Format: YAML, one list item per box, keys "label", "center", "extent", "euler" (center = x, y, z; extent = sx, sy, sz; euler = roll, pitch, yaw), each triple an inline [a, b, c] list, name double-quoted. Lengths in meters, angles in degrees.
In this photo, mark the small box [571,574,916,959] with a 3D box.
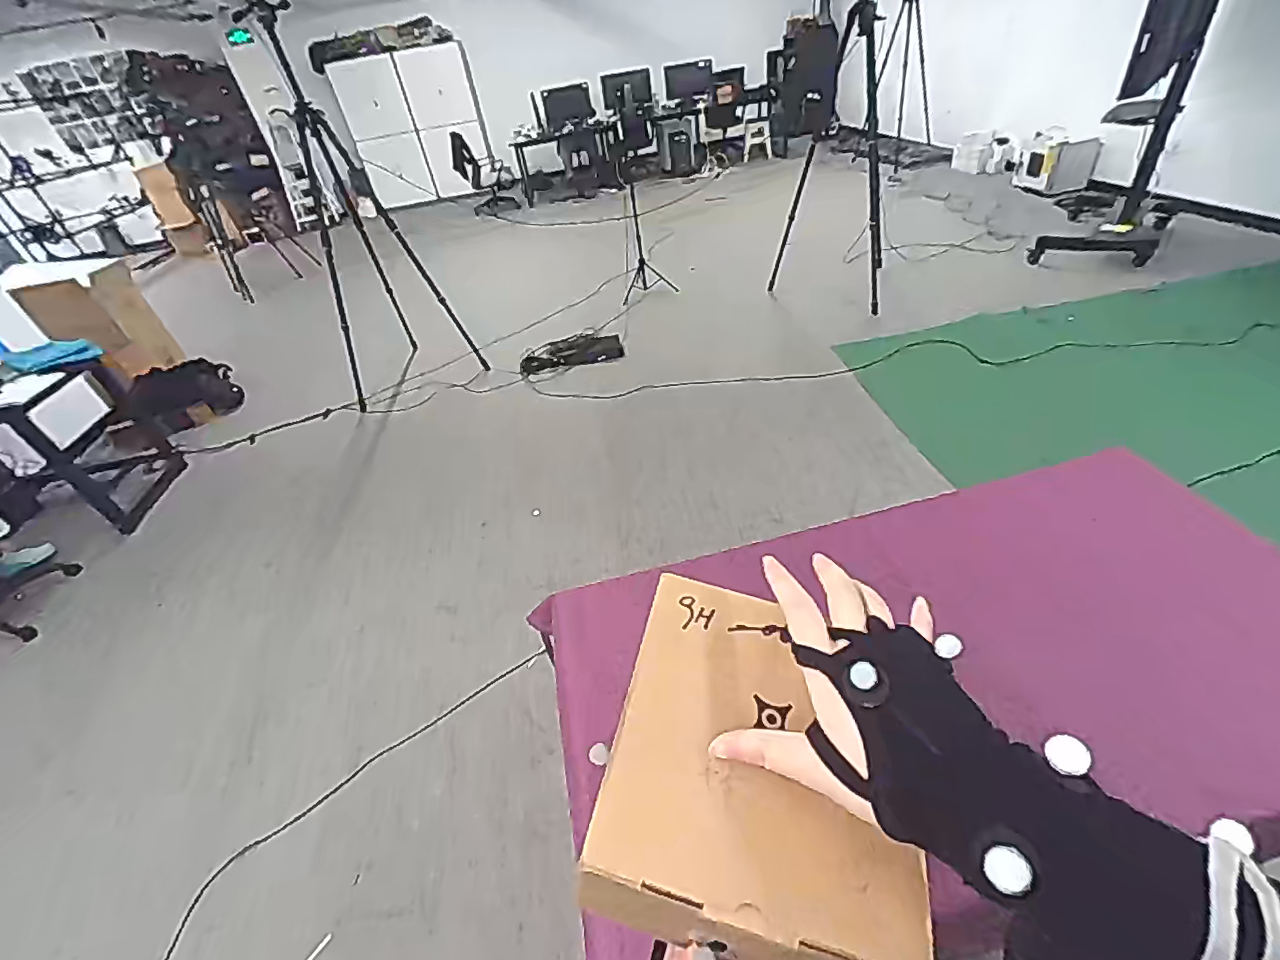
- label: "small box"
  center: [0.060, 0.198, 0.363]
  extent: [0.168, 0.176, 0.179]
  euler: [16, 48, 6]
